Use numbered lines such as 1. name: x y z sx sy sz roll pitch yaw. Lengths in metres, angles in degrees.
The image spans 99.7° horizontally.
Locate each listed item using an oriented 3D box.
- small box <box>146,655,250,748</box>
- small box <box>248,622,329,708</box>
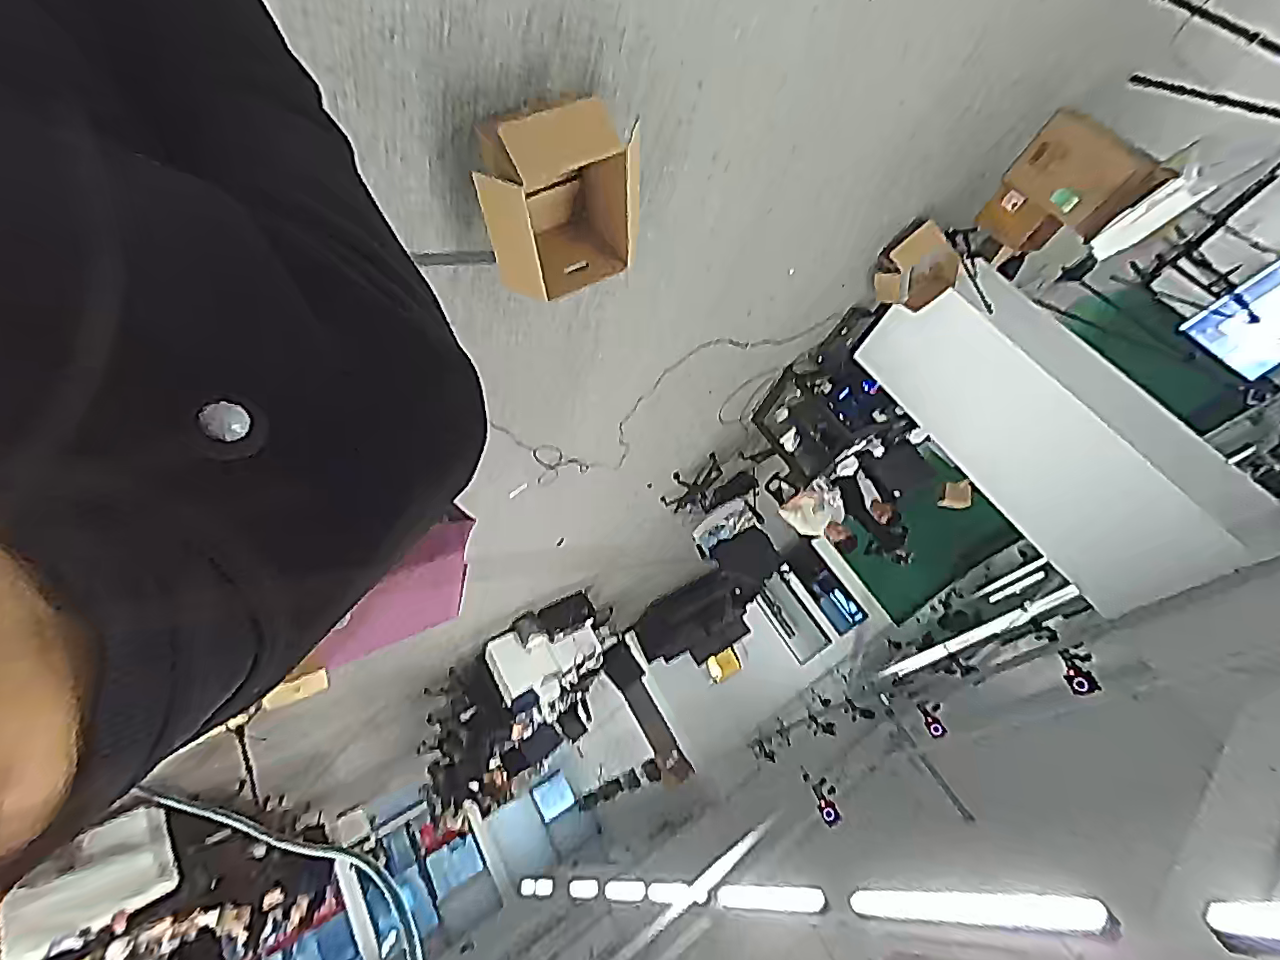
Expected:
1. small box: -1.233 0.614 1.512 0.168 0.176 0.179 -22 157 -29
2. small box: -1.061 0.553 1.636 0.168 0.176 0.179 -17 154 -36
